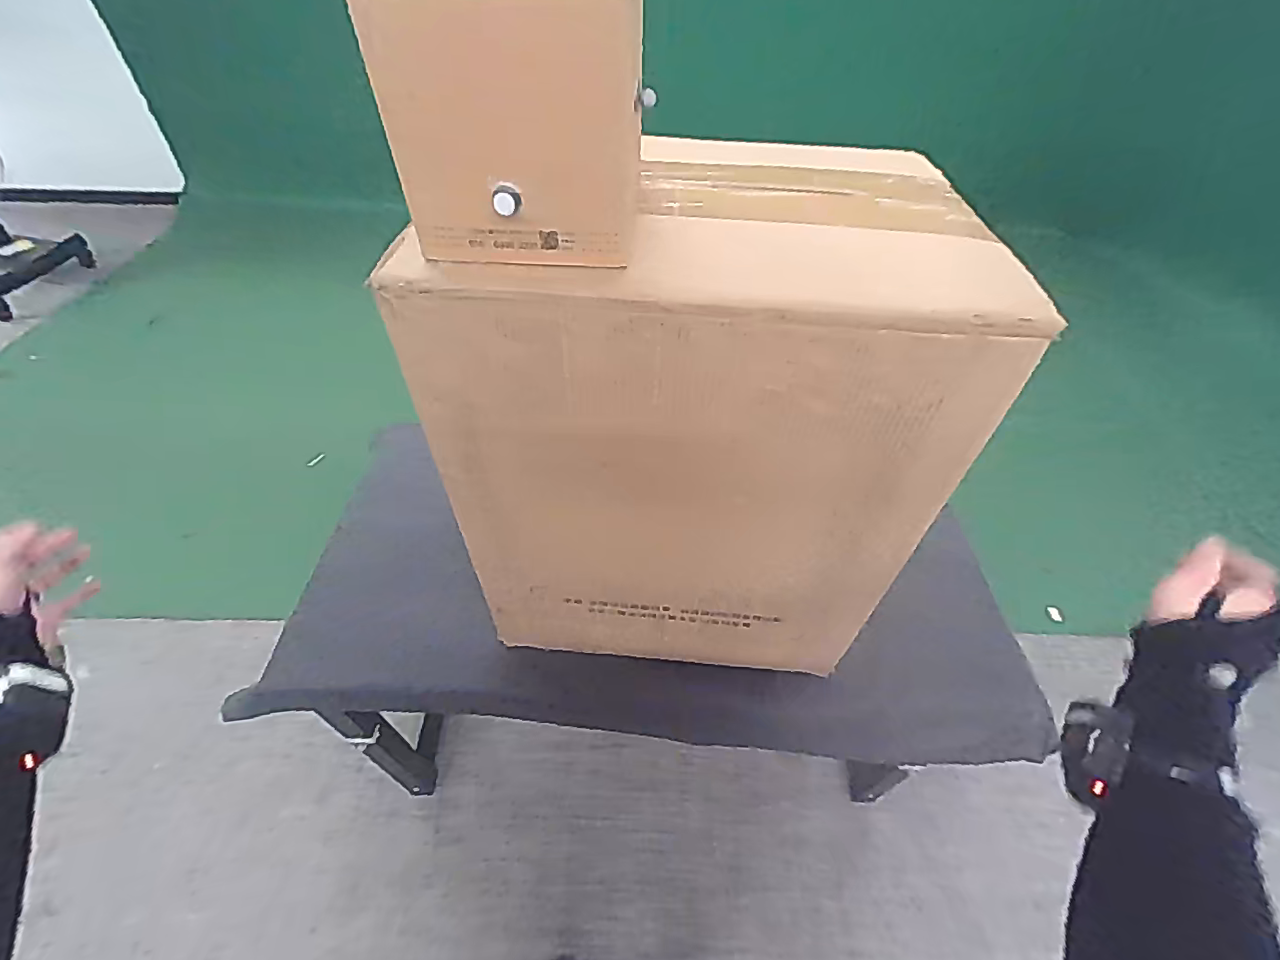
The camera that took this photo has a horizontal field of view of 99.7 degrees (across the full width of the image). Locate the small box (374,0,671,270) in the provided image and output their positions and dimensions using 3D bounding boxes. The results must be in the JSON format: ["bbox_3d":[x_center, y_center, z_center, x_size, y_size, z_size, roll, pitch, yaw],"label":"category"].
[{"bbox_3d":[-0.068,-0.284,0.408,0.168,0.176,0.179,5,51,3],"label":"small box"}]
